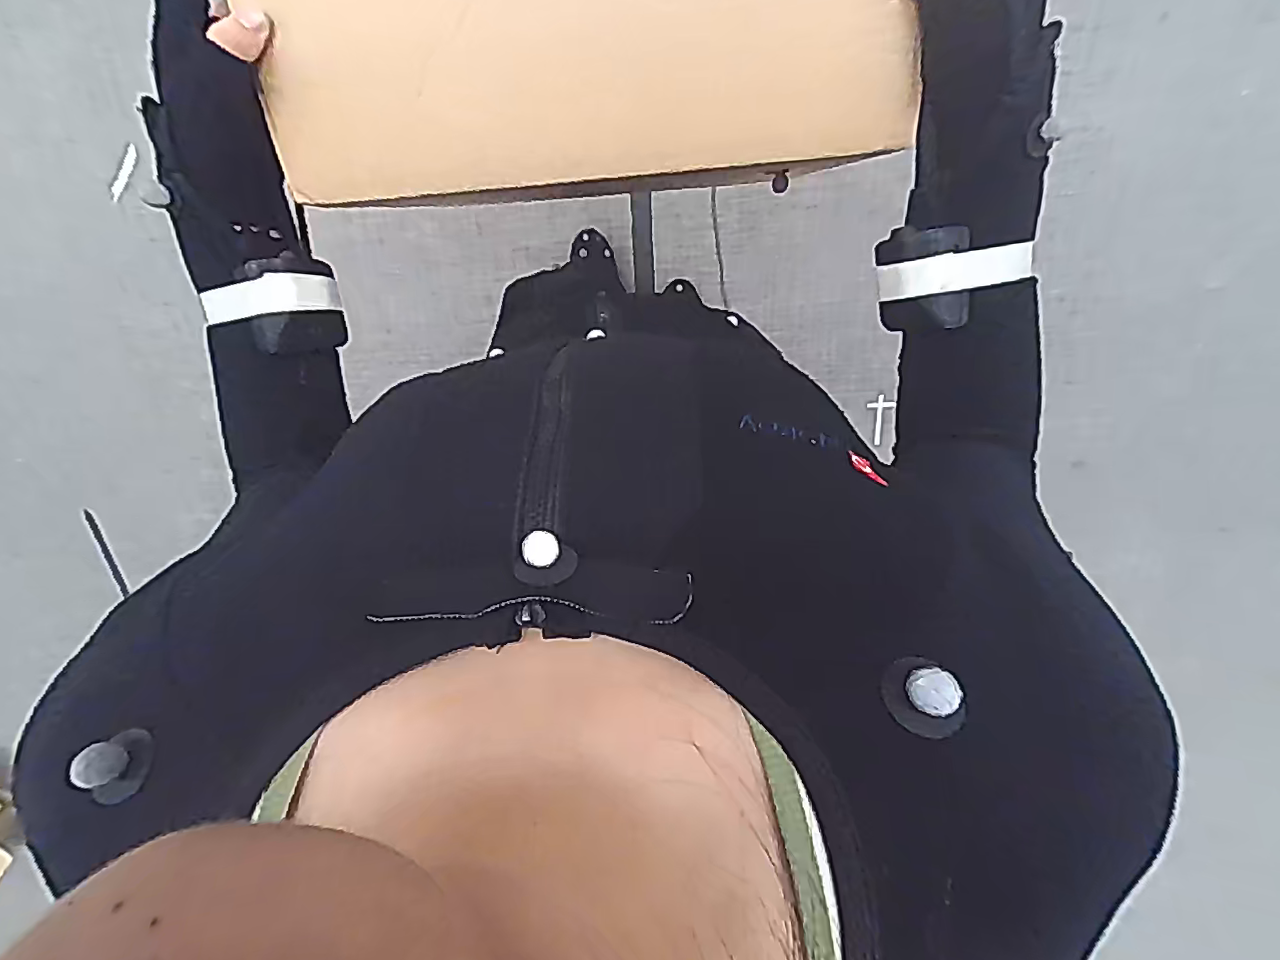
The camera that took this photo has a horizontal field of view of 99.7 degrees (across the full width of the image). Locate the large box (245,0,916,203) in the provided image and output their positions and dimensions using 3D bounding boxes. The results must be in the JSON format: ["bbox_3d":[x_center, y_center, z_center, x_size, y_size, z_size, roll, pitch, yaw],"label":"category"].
[{"bbox_3d":[-0.037,-0.410,0.423,0.408,0.320,0.320,-3,116,3],"label":"large box"}]
